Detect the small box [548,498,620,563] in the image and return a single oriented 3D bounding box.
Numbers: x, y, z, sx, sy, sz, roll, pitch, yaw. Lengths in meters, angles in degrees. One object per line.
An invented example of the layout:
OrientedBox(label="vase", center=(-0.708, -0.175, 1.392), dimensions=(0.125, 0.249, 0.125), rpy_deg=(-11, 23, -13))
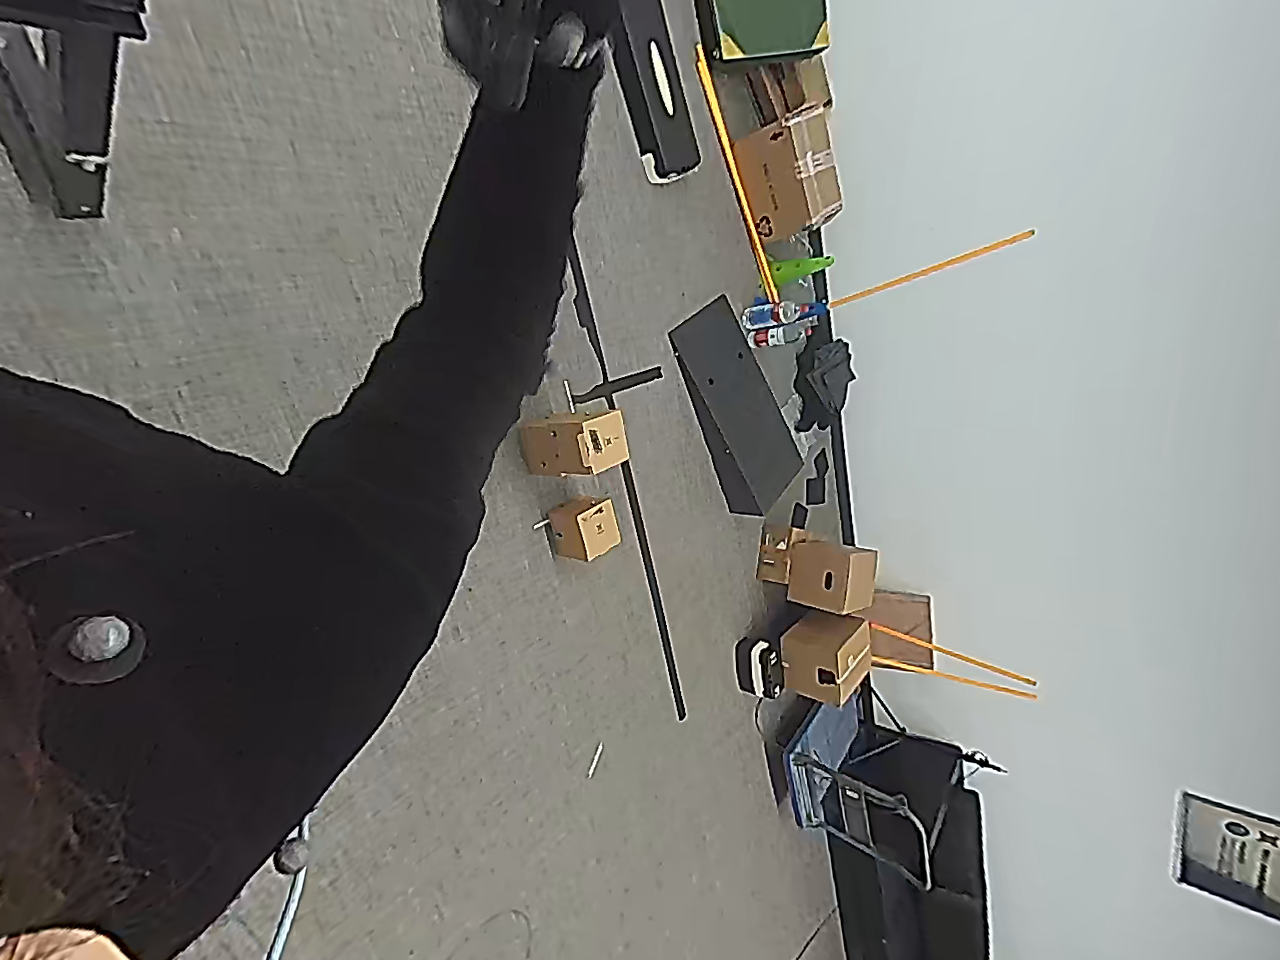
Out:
OrientedBox(label="small box", center=(-0.201, 0.174, 1.933), dimensions=(0.168, 0.176, 0.179), rpy_deg=(-28, 113, -43))

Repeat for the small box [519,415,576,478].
OrientedBox(label="small box", center=(-0.281, -0.118, 1.827), dimensions=(0.168, 0.176, 0.179), rpy_deg=(-30, 114, -42))

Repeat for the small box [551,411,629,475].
OrientedBox(label="small box", center=(-0.164, -0.118, 1.712), dimensions=(0.179, 0.176, 0.168), rpy_deg=(-27, 113, -44))
